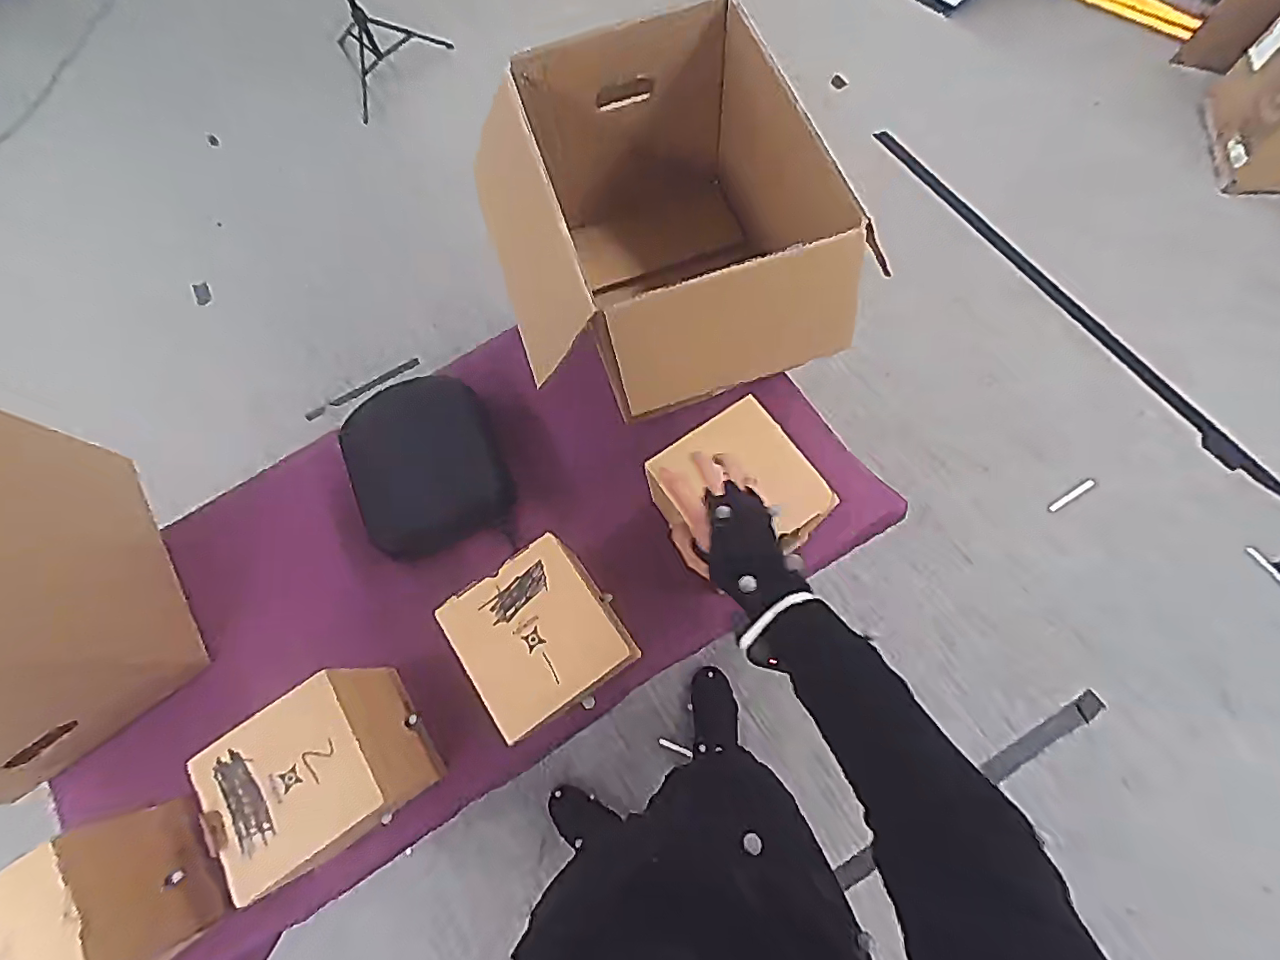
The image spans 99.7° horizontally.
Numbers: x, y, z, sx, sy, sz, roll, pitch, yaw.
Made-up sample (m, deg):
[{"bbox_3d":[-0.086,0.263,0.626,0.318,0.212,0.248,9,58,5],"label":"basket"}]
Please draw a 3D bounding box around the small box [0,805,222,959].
[{"bbox_3d":[-0.654,0.524,0.632,0.179,0.176,0.168,-35,72,-8],"label":"small box"}]

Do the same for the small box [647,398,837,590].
[{"bbox_3d":[0.127,0.029,0.727,0.168,0.176,0.179,-33,72,-5],"label":"small box"}]
